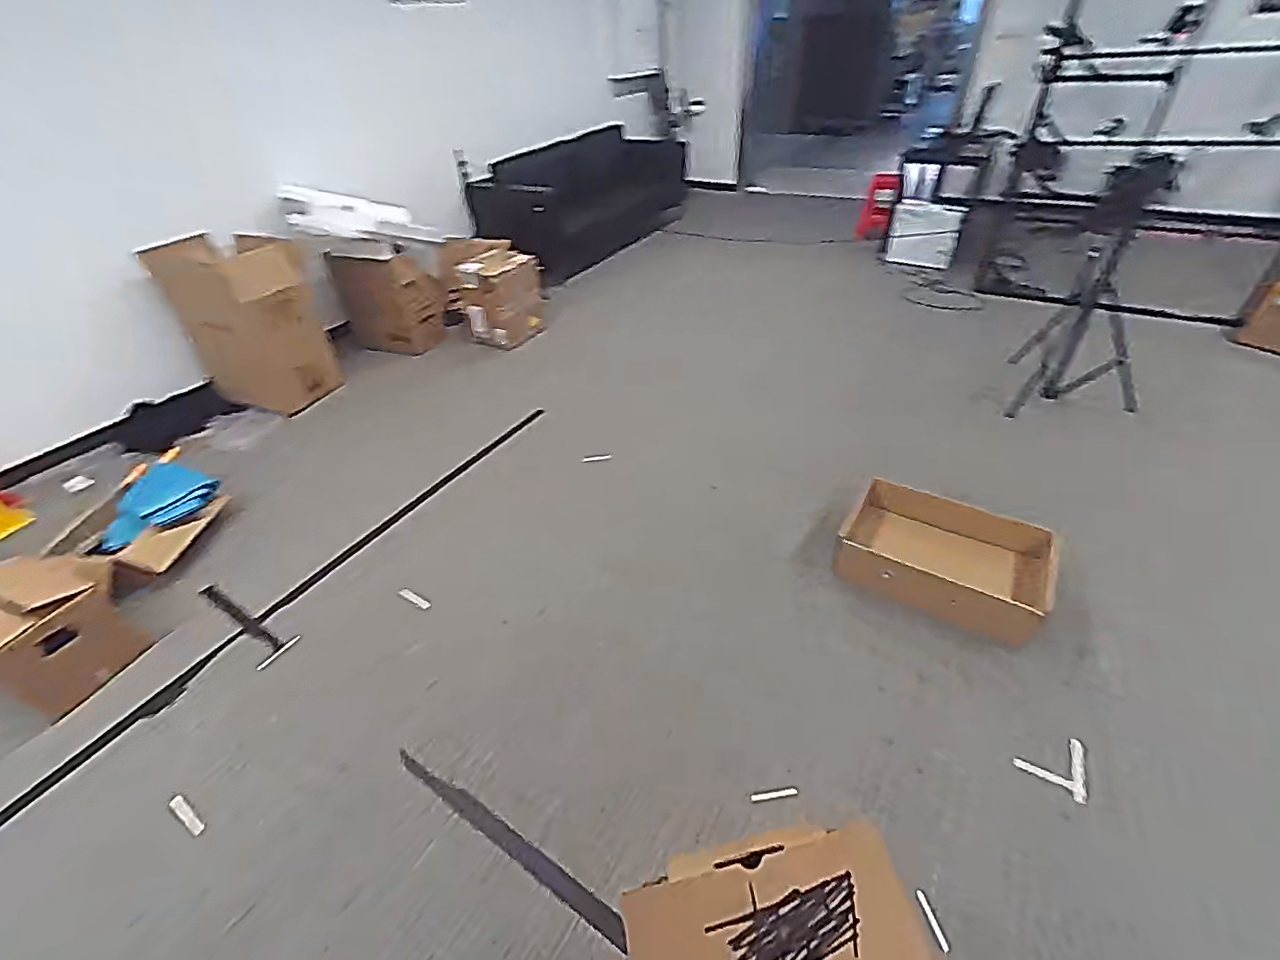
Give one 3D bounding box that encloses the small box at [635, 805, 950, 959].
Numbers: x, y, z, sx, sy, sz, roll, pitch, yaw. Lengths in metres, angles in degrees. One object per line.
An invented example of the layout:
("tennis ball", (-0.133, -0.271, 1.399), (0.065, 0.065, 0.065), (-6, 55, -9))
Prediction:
("small box", (0.096, 0.337, 0.339), (0.168, 0.176, 0.179), (-13, 49, -5))
